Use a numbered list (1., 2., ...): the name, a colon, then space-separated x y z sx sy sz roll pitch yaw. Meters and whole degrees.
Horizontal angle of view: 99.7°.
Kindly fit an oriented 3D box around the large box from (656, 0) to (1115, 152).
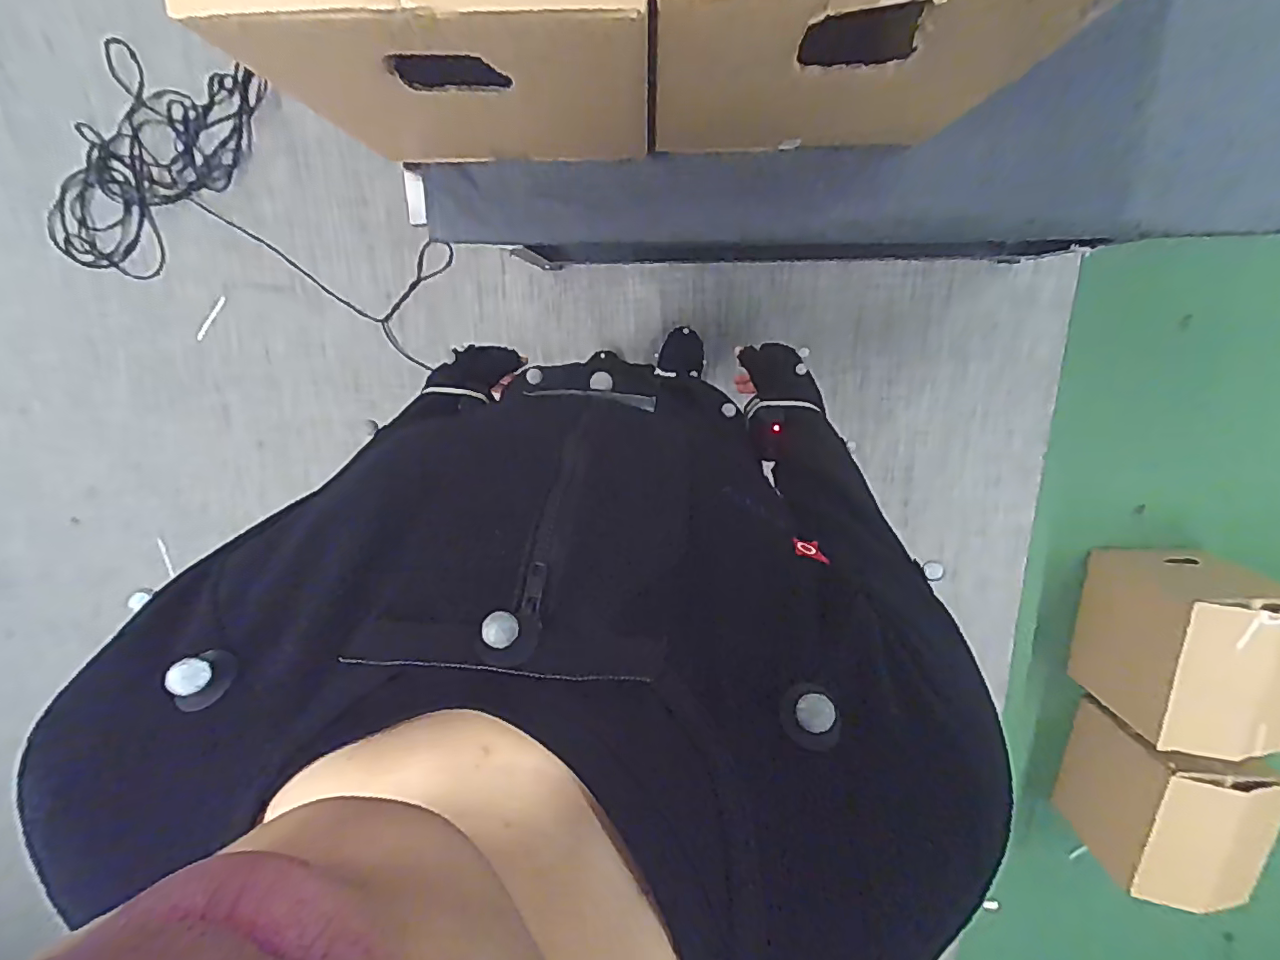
1. large box: 0.165 -0.541 0.439 0.320 0.320 0.408 -1 106 3
